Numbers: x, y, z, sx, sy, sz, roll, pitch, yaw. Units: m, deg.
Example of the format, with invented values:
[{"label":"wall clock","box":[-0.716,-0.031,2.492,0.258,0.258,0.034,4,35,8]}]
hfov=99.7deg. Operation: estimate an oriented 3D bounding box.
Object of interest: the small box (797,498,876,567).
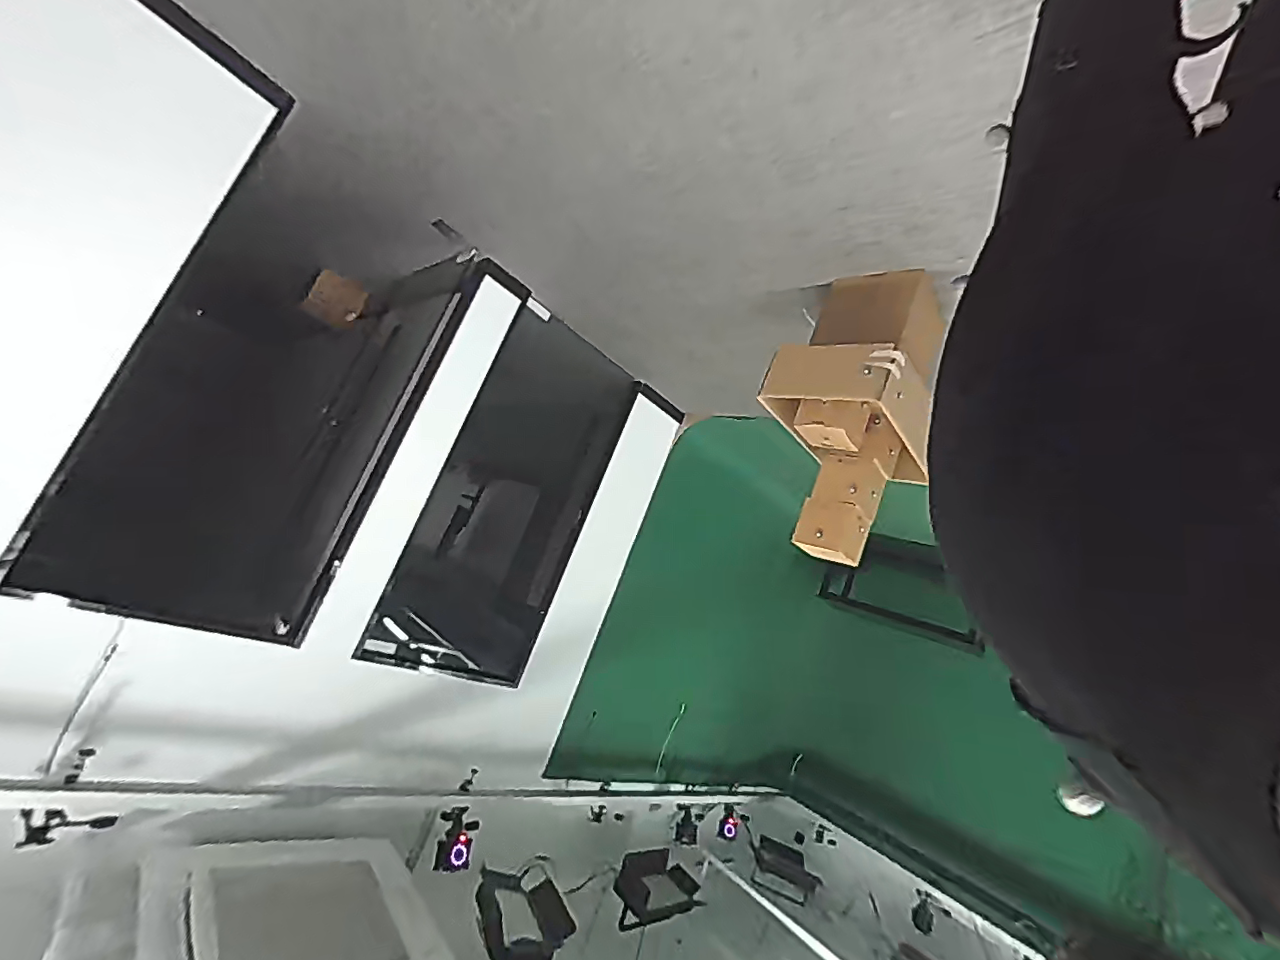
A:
[{"label":"small box","box":[0.666,0.173,1.827,0.179,0.176,0.168,10,163,47]}]
